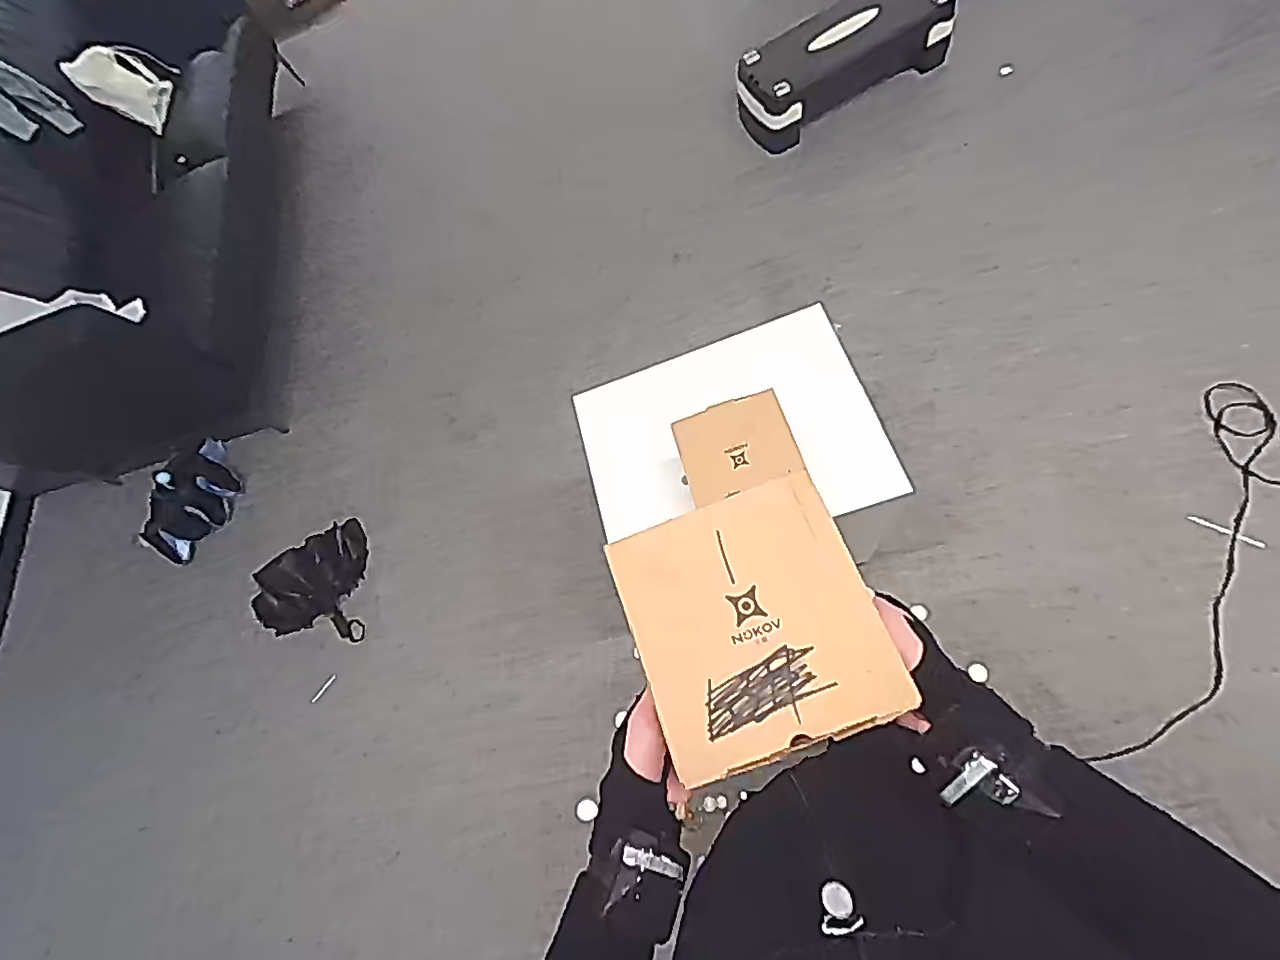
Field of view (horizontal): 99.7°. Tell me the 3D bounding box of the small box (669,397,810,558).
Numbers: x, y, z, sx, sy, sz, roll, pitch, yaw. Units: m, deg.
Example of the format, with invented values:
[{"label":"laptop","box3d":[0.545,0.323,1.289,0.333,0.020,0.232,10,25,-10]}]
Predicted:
[{"label":"small box","box3d":[0.158,0.003,0.857,0.168,0.176,0.179,-19,64,8]}]
